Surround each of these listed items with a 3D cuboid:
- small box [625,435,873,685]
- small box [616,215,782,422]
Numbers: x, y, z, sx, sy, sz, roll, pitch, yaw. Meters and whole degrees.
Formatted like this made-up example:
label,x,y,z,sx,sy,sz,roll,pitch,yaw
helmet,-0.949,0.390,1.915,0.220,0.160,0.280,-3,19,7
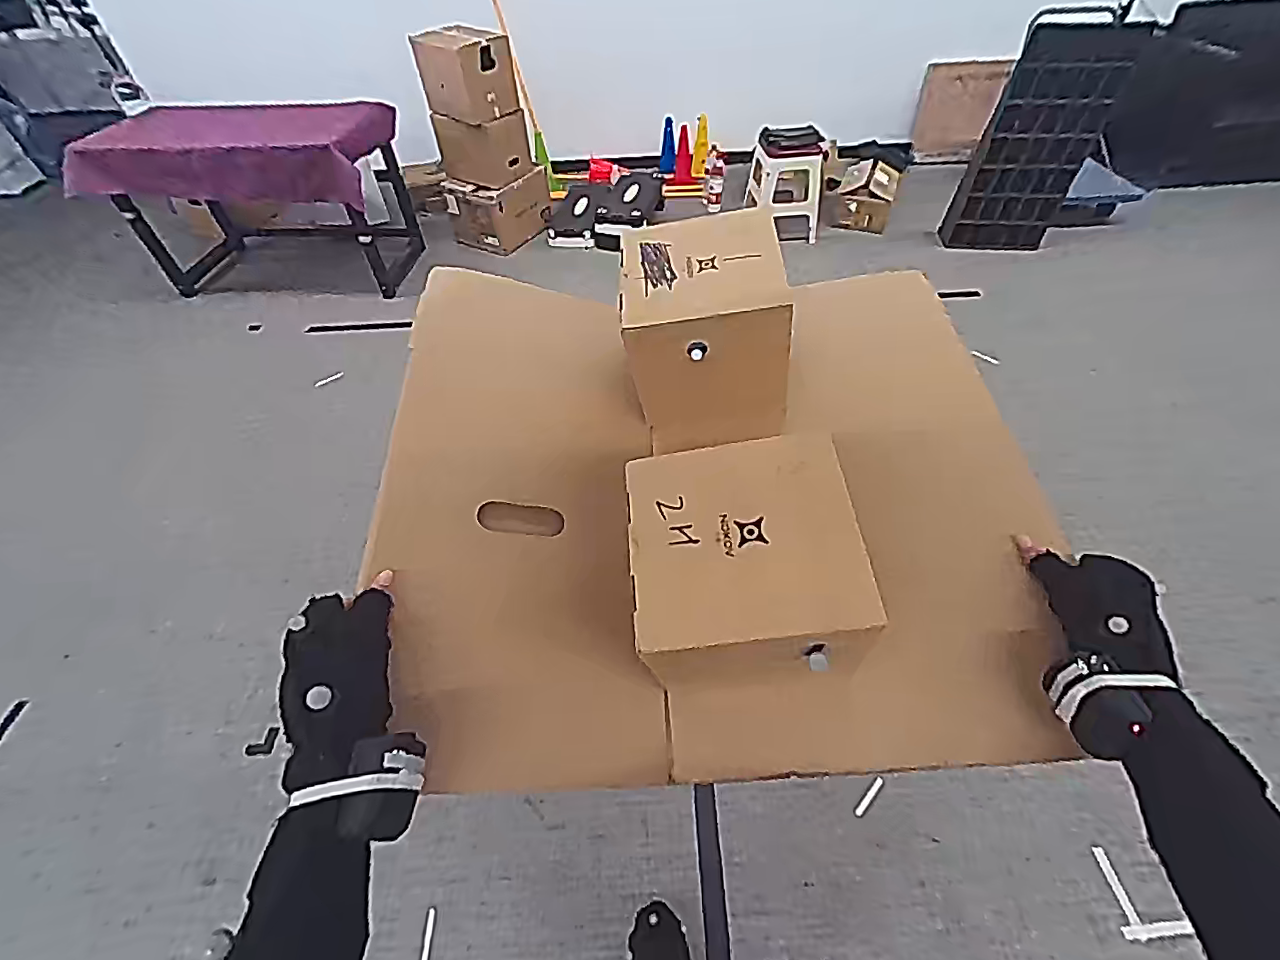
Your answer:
label,x,y,z,sx,sy,sz,roll,pitch,yaw
small box,0.090,0.083,0.497,0.179,0.176,0.168,-9,58,9
small box,0.074,-0.186,0.663,0.179,0.176,0.168,-6,58,8
